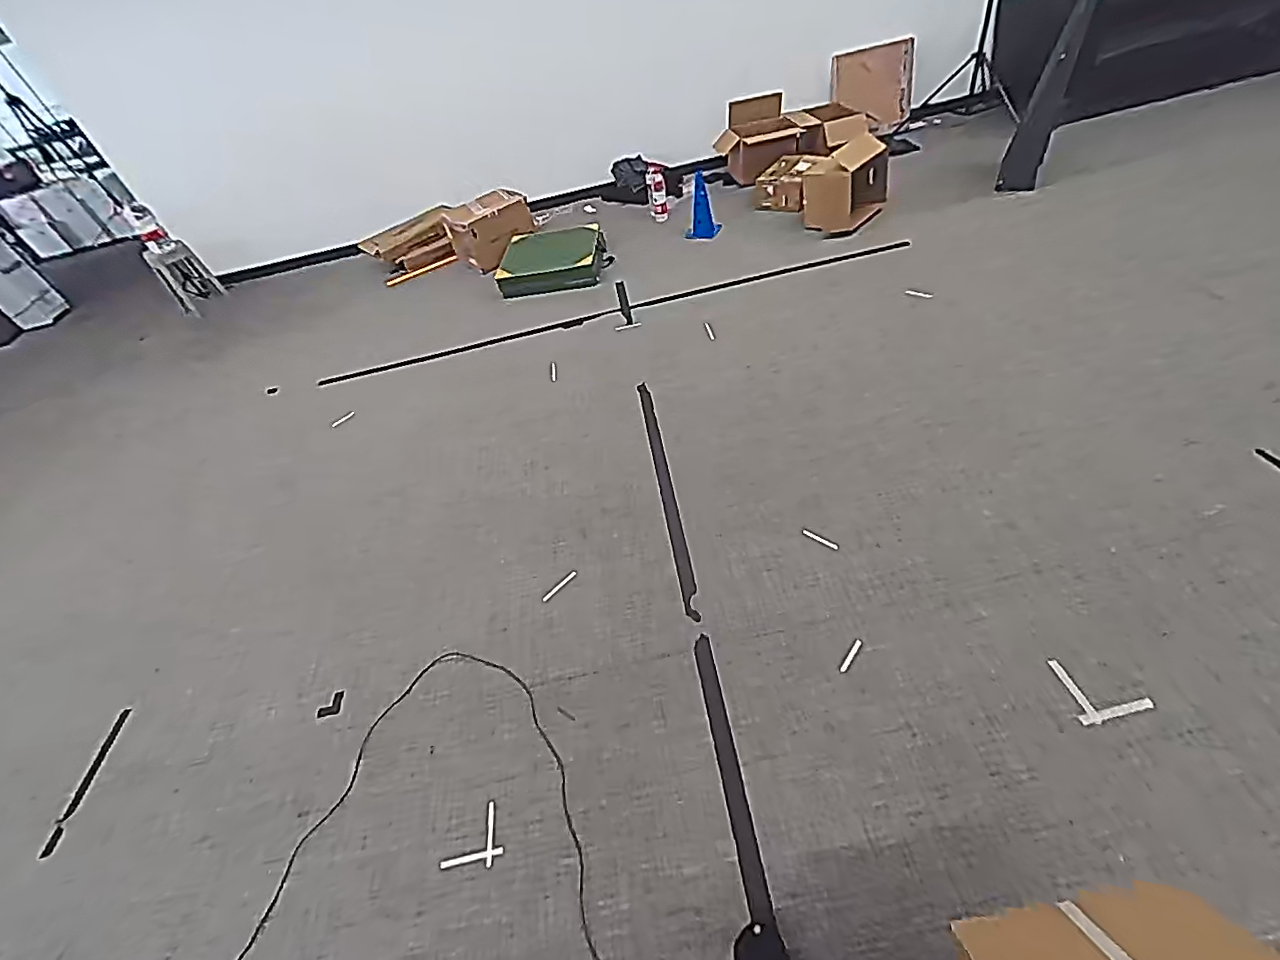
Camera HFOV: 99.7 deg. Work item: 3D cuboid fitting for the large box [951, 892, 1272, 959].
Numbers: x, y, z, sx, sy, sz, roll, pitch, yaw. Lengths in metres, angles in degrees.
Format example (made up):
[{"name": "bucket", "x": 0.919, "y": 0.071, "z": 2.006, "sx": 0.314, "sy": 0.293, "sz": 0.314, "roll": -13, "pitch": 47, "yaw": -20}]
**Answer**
[{"name": "large box", "x": 0.587, "y": 0.709, "z": 0.521, "sx": 0.320, "sy": 0.408, "sz": 0.320, "roll": -14, "pitch": 84, "yaw": 4}]
